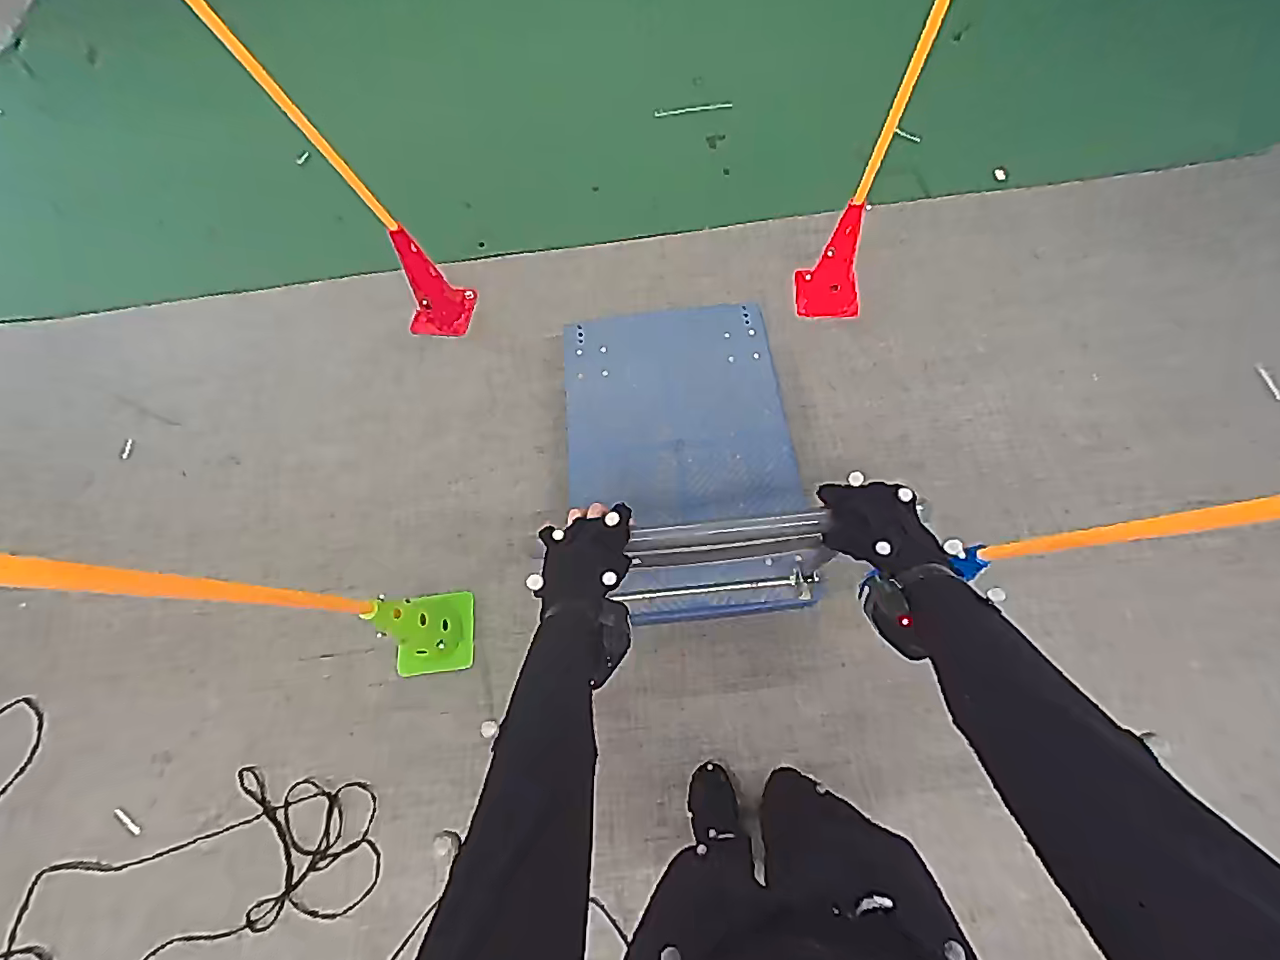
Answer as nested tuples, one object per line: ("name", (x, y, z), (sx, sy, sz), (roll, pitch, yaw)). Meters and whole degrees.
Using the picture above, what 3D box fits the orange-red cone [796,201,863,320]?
("orange-red cone", (0.603, -0.674, 1.627), (0.198, 0.360, 0.199), (3, 68, 6))
